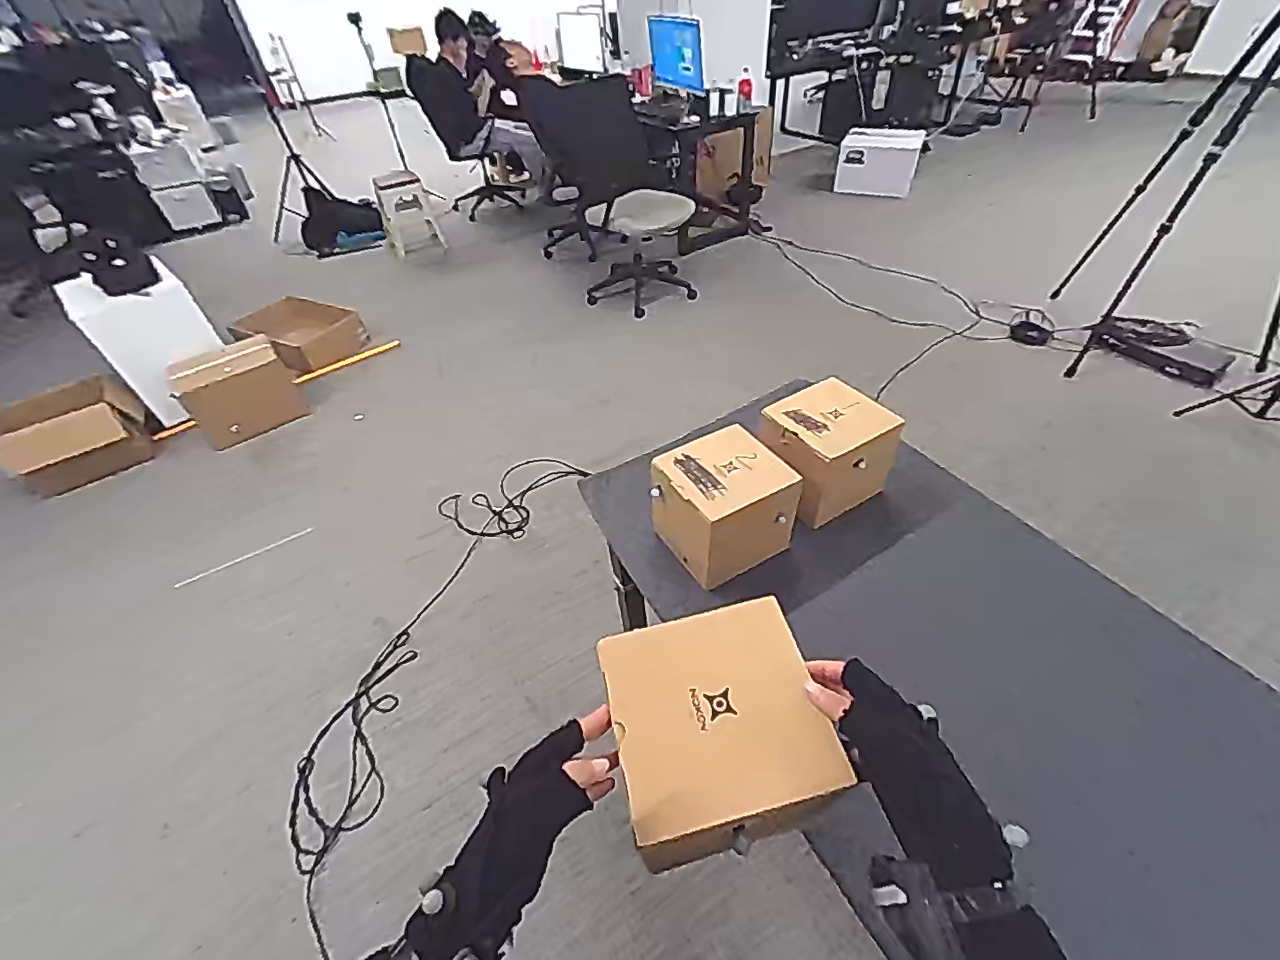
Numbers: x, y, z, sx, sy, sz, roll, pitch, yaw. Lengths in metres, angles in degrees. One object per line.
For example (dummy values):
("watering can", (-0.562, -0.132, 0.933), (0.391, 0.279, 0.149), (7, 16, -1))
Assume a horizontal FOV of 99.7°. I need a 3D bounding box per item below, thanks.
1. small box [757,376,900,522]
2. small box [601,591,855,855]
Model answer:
("small box", (0.328, -0.054, 0.977), (0.179, 0.176, 0.168), (-25, 48, -20))
("small box", (0.070, 0.234, 0.516), (0.179, 0.176, 0.168), (-14, 50, -5))
